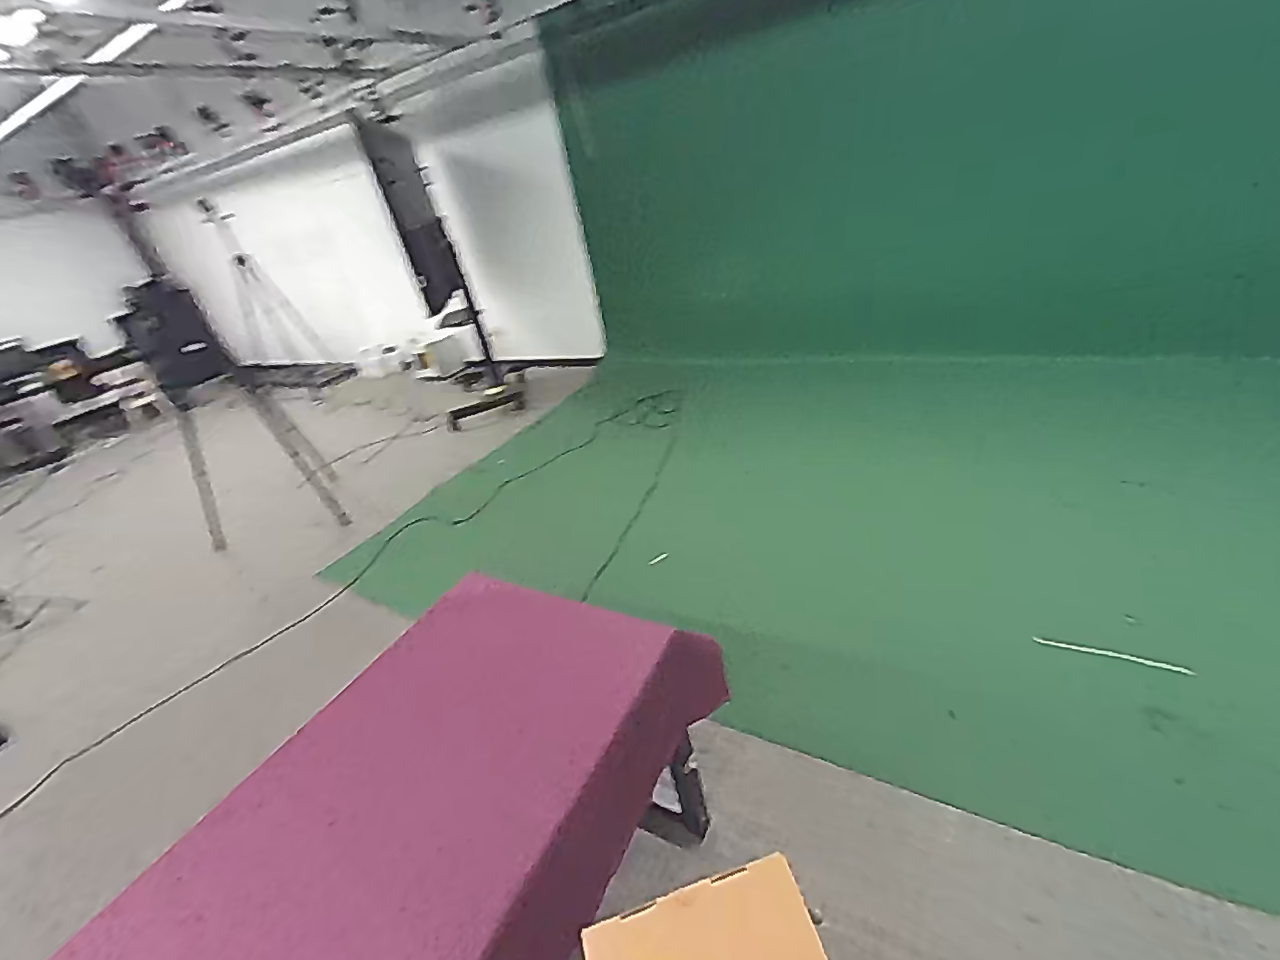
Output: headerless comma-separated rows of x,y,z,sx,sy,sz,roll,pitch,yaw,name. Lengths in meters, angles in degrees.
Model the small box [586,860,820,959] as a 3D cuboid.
0.070,0.434,0.410,0.168,0.176,0.179,-17,41,-5,small box
